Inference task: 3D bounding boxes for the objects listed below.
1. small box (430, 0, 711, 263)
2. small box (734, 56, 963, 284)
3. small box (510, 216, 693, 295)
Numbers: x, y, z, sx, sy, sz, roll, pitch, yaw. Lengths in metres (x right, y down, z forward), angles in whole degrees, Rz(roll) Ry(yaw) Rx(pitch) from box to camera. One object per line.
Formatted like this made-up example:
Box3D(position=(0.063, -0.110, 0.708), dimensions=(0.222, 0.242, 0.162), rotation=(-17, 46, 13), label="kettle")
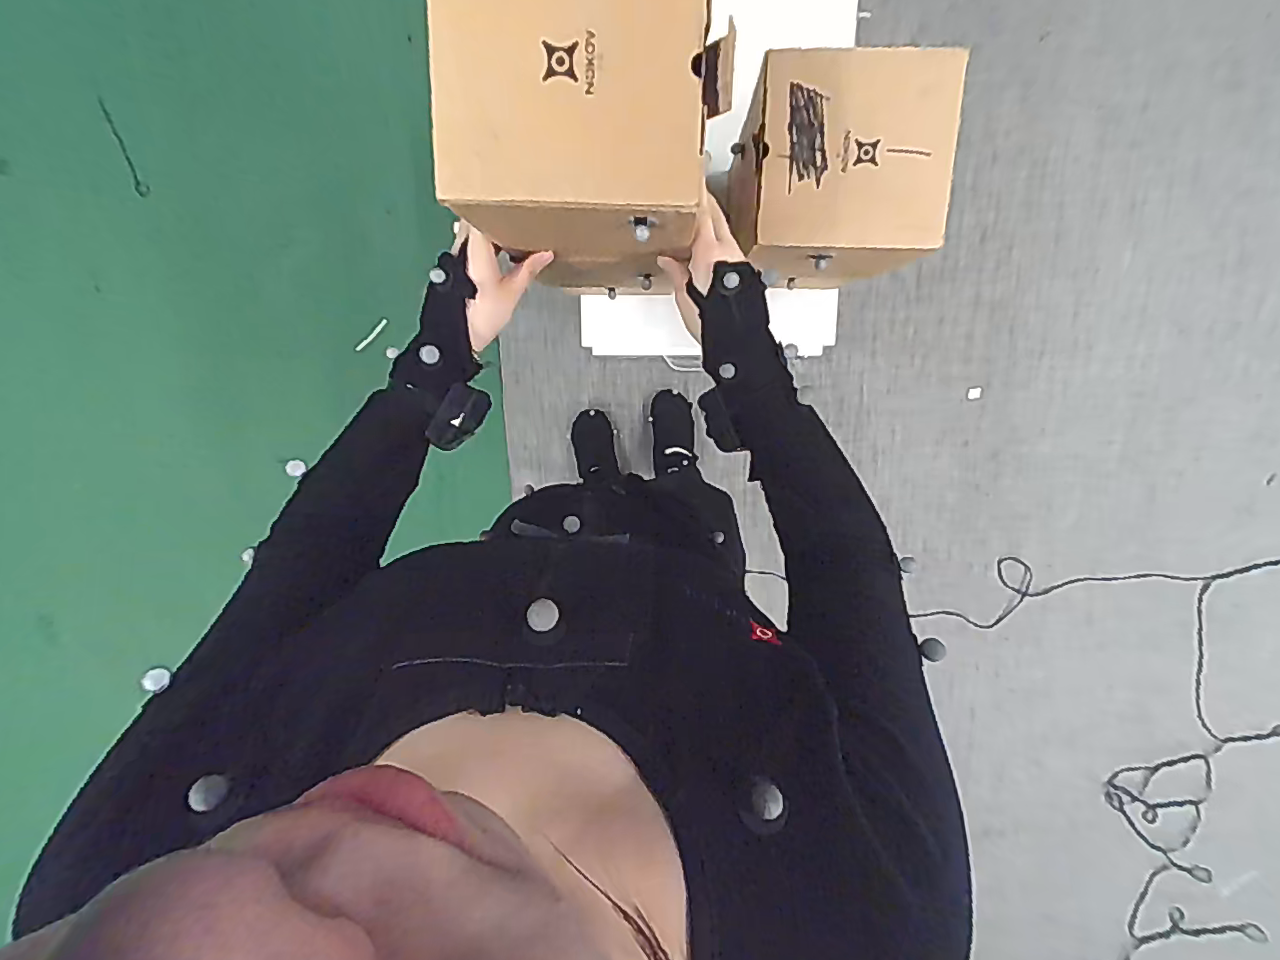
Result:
Box3D(position=(-0.043, -0.271, 0.418), dimensions=(0.179, 0.176, 0.168), rotation=(2, 101, 0), label="small box")
Box3D(position=(0.198, -0.307, 0.570), dimensions=(0.179, 0.176, 0.168), rotation=(2, 101, 1), label="small box")
Box3D(position=(-0.038, -0.298, 0.580), dimensions=(0.179, 0.176, 0.168), rotation=(-1, 100, 1), label="small box")
